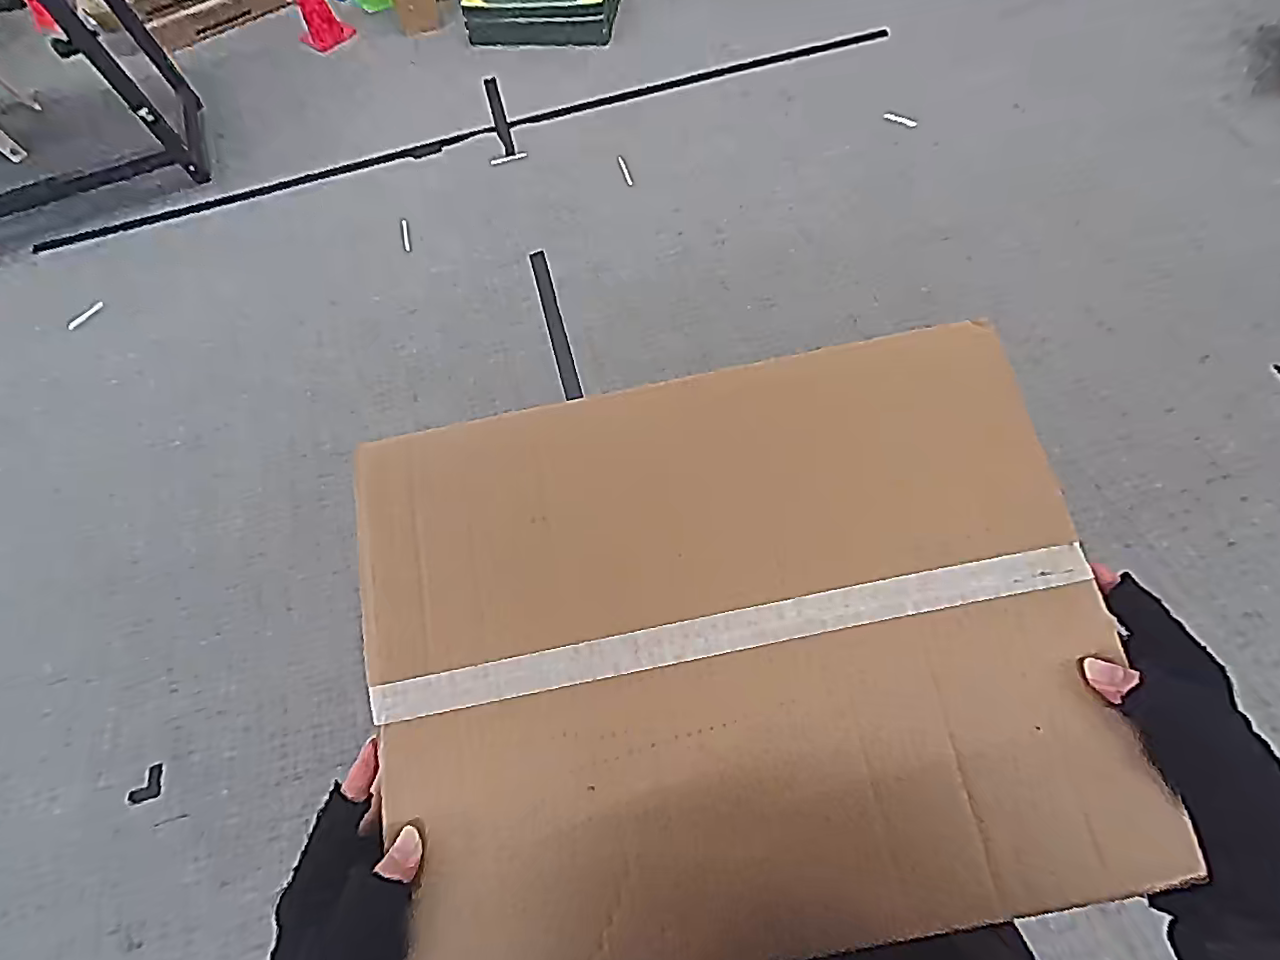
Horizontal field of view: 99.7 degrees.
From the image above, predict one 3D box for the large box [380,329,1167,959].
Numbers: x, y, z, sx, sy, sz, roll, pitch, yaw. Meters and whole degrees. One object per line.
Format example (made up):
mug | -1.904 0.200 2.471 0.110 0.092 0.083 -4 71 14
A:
large box | 0.059 0.124 0.461 0.408 0.320 0.320 -12 77 1
